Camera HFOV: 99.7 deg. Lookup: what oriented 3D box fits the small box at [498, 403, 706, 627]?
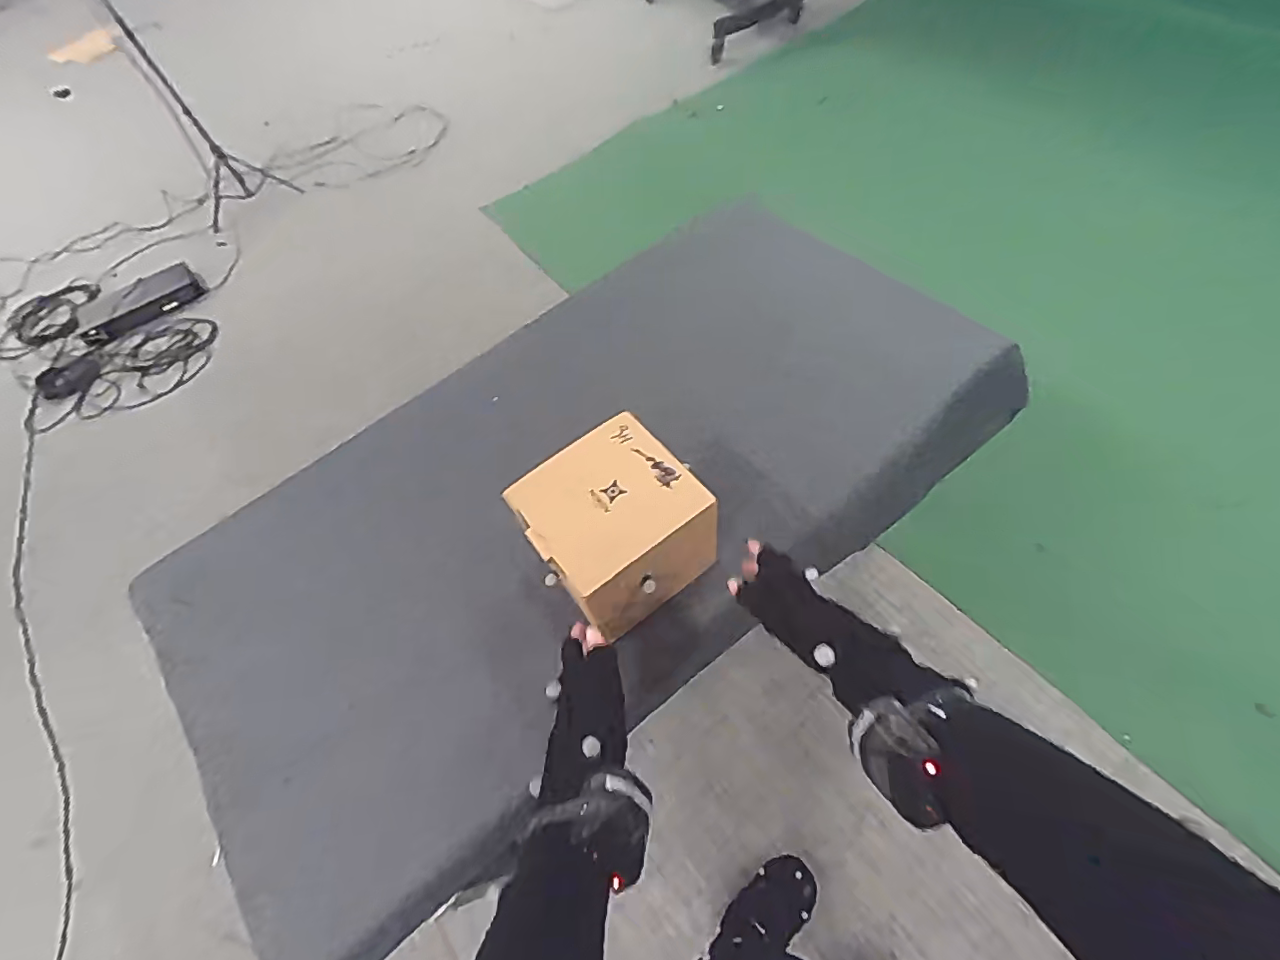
[{"bbox_3d":[-0.034,0.049,0.651,0.179,0.176,0.168,-36,61,-12],"label":"small box"}]
